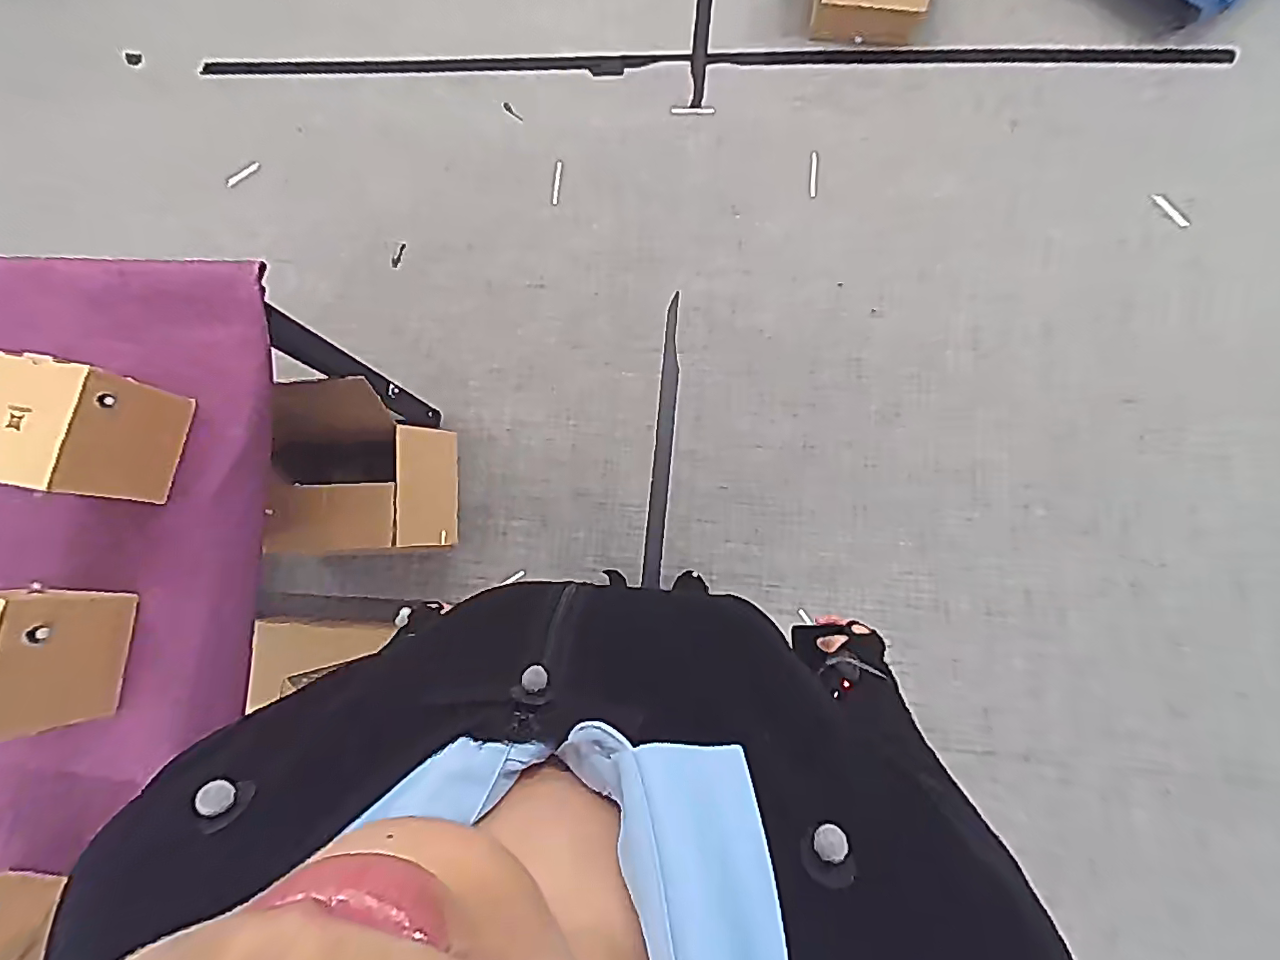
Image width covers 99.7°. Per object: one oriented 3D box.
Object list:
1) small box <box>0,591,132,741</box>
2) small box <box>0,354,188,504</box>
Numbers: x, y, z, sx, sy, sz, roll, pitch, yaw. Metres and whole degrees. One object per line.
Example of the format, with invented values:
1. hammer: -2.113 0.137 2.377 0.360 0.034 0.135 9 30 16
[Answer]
1. small box: -0.862 0.246 0.742 0.168 0.176 0.179 1 80 7
2. small box: -0.824 -0.066 0.794 0.168 0.176 0.179 9 81 6
